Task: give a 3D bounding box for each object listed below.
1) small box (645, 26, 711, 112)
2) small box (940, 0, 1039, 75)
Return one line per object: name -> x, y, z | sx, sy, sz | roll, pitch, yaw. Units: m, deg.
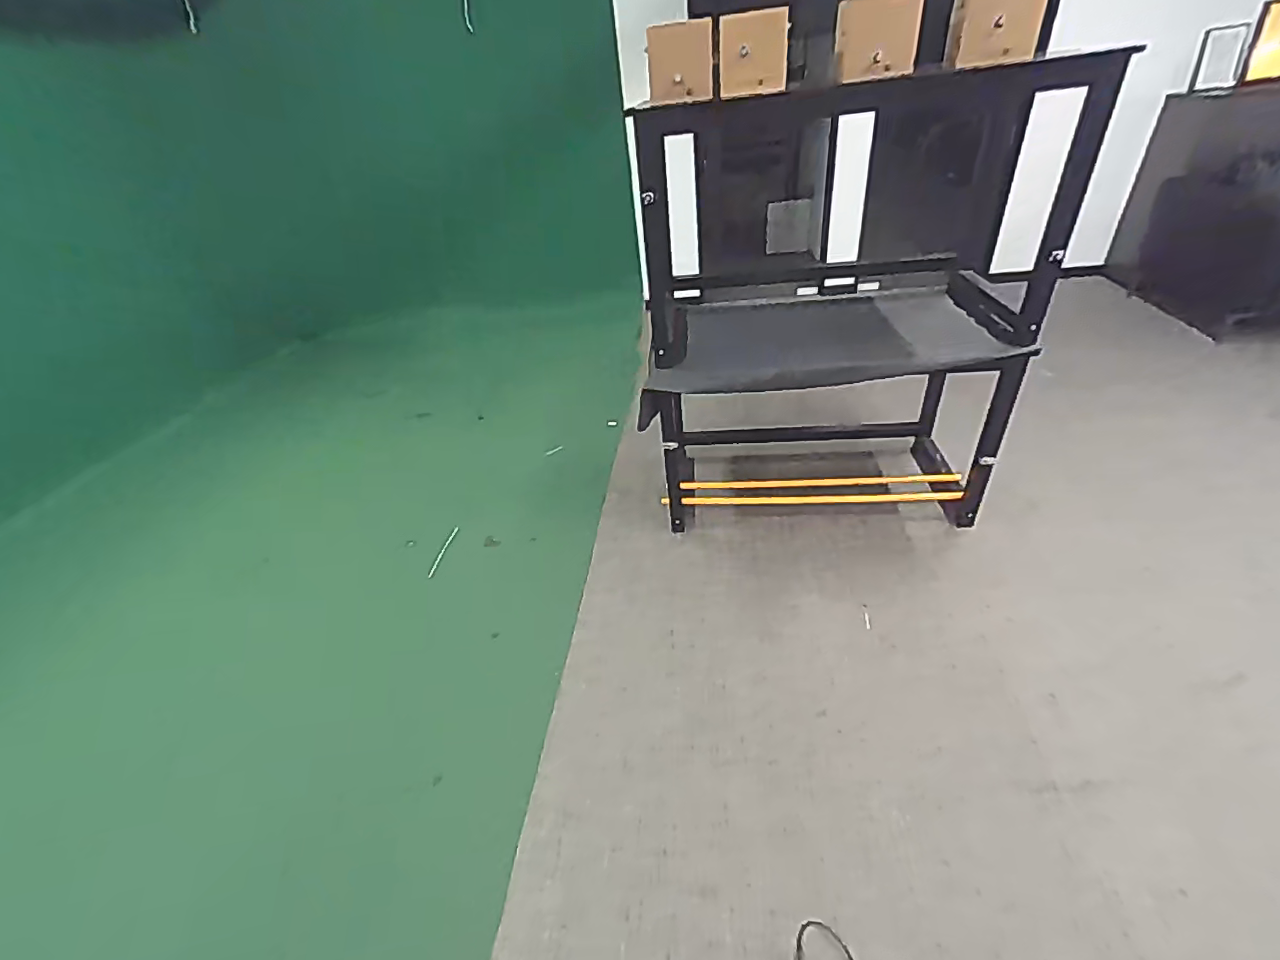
small box -> 0.105, -1.105, 1.462 | 0.168, 0.176, 0.179 | -2, 37, 6
small box -> 0.858, -1.114, 1.331 | 0.168, 0.176, 0.179 | 4, 37, 15
